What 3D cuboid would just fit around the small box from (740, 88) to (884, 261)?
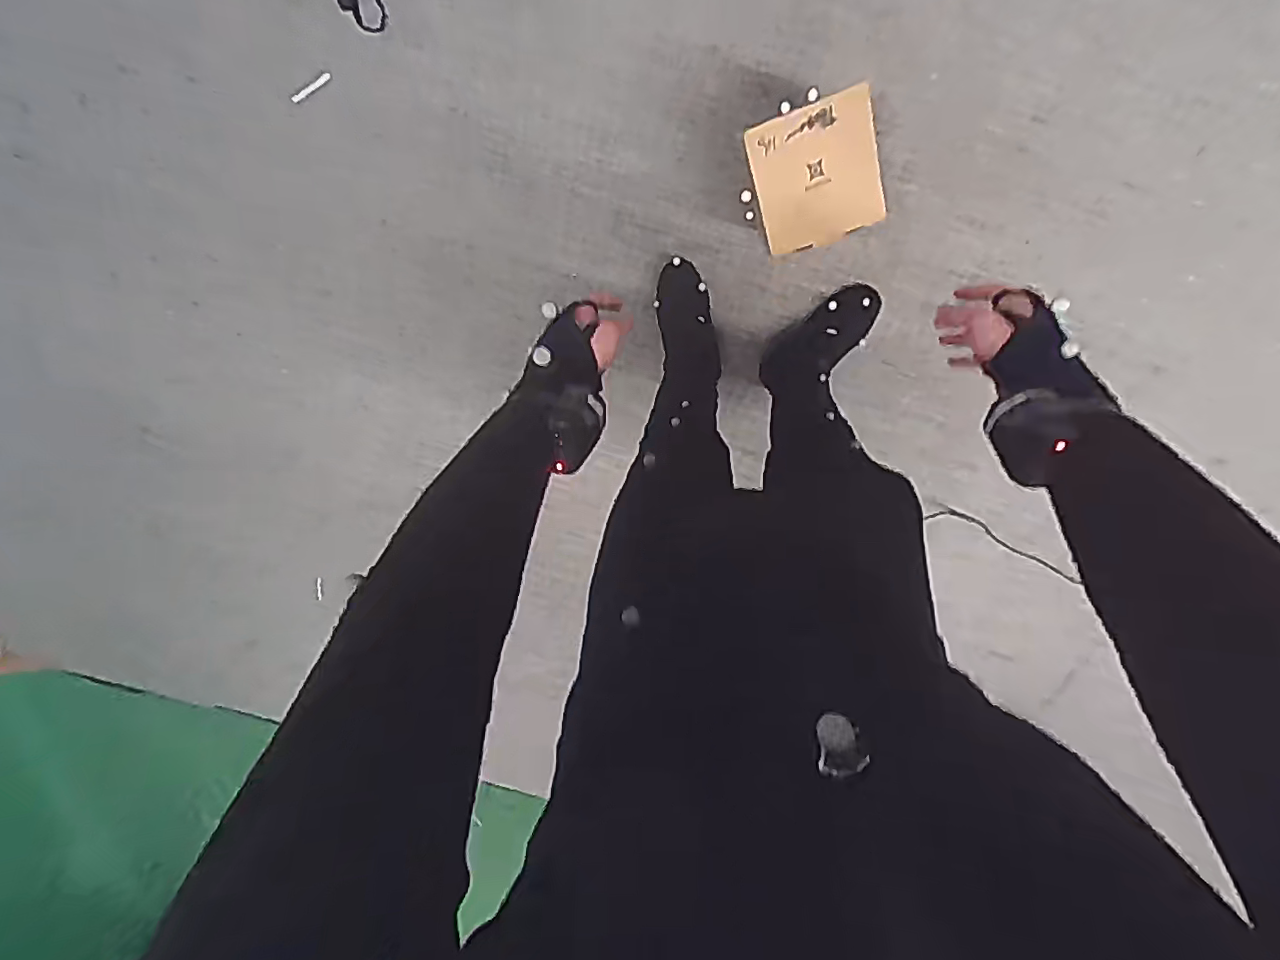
[{"bbox_3d":[0.256,-0.464,0.824,0.168,0.176,0.179,-15,119,15],"label":"small box"}]
